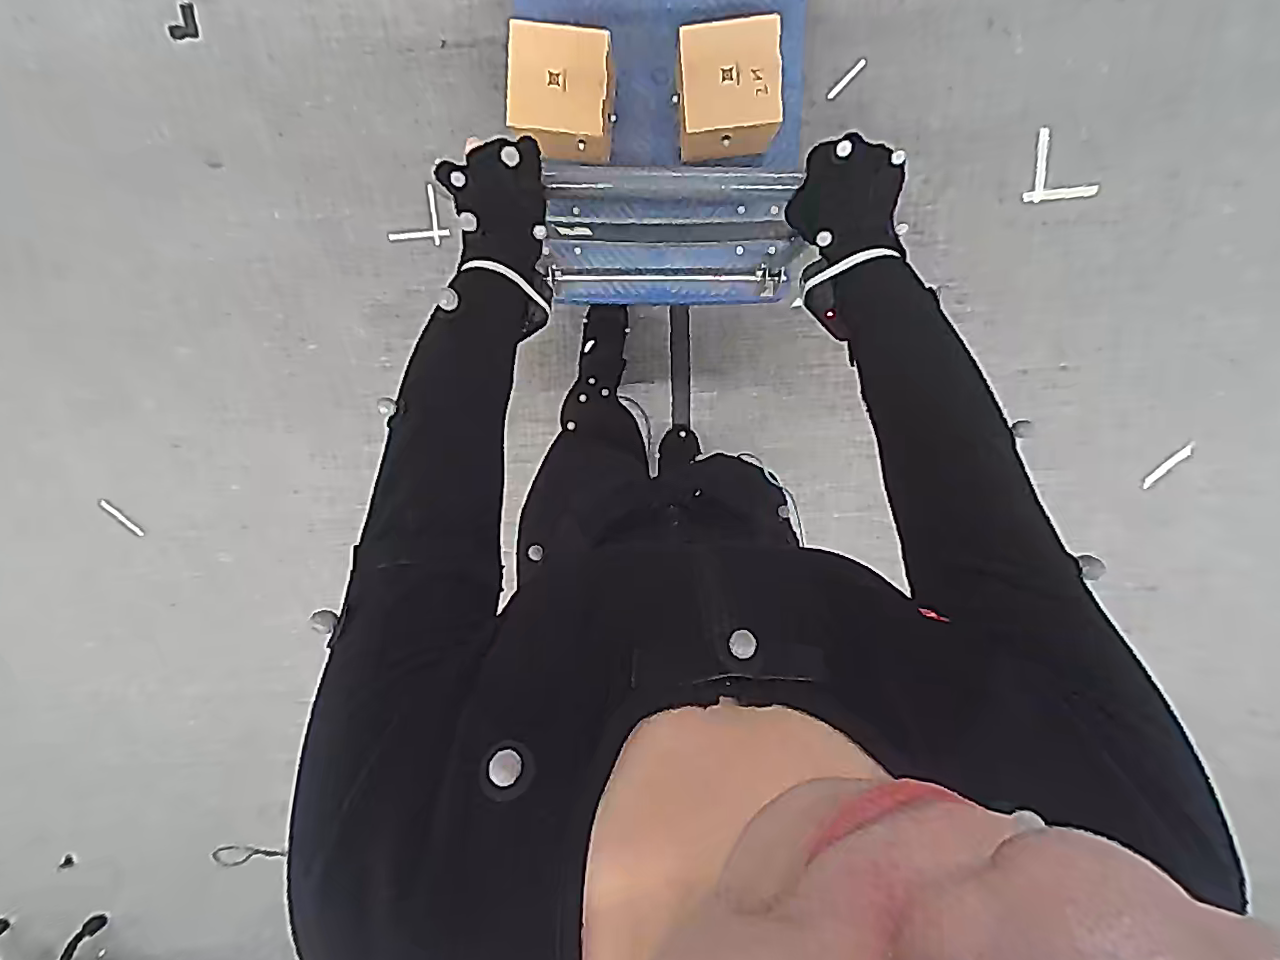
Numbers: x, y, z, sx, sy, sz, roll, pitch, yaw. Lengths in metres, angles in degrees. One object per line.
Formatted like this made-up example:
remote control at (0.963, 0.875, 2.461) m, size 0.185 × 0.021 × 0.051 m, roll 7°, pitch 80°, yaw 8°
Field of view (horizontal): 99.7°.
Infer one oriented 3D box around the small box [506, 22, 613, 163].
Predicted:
small box at (-0.148, -0.728, 1.036) m, size 0.179 × 0.176 × 0.168 m, roll 5°, pitch 105°, yaw -2°

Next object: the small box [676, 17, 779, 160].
small box at (0.159, -0.729, 1.029) m, size 0.179 × 0.176 × 0.168 m, roll -5°, pitch 105°, yaw 3°
